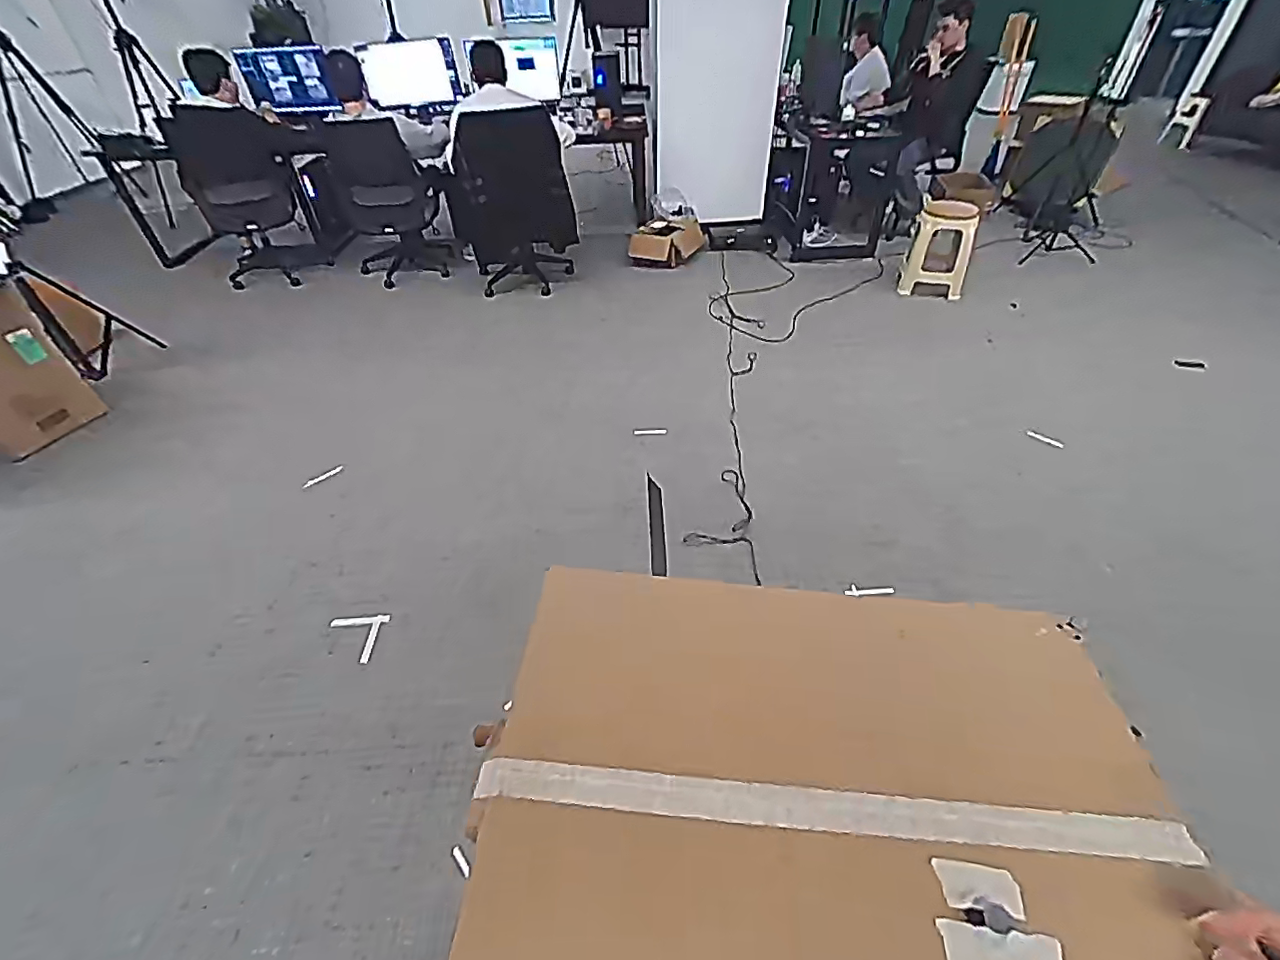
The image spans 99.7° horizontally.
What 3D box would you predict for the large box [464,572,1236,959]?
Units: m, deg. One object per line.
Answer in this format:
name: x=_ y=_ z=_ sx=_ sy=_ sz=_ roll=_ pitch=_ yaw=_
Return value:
large box: x=0.105 y=0.302 z=0.427 sx=0.408 sy=0.320 sz=0.320 roll=6 pitch=44 yaw=1
